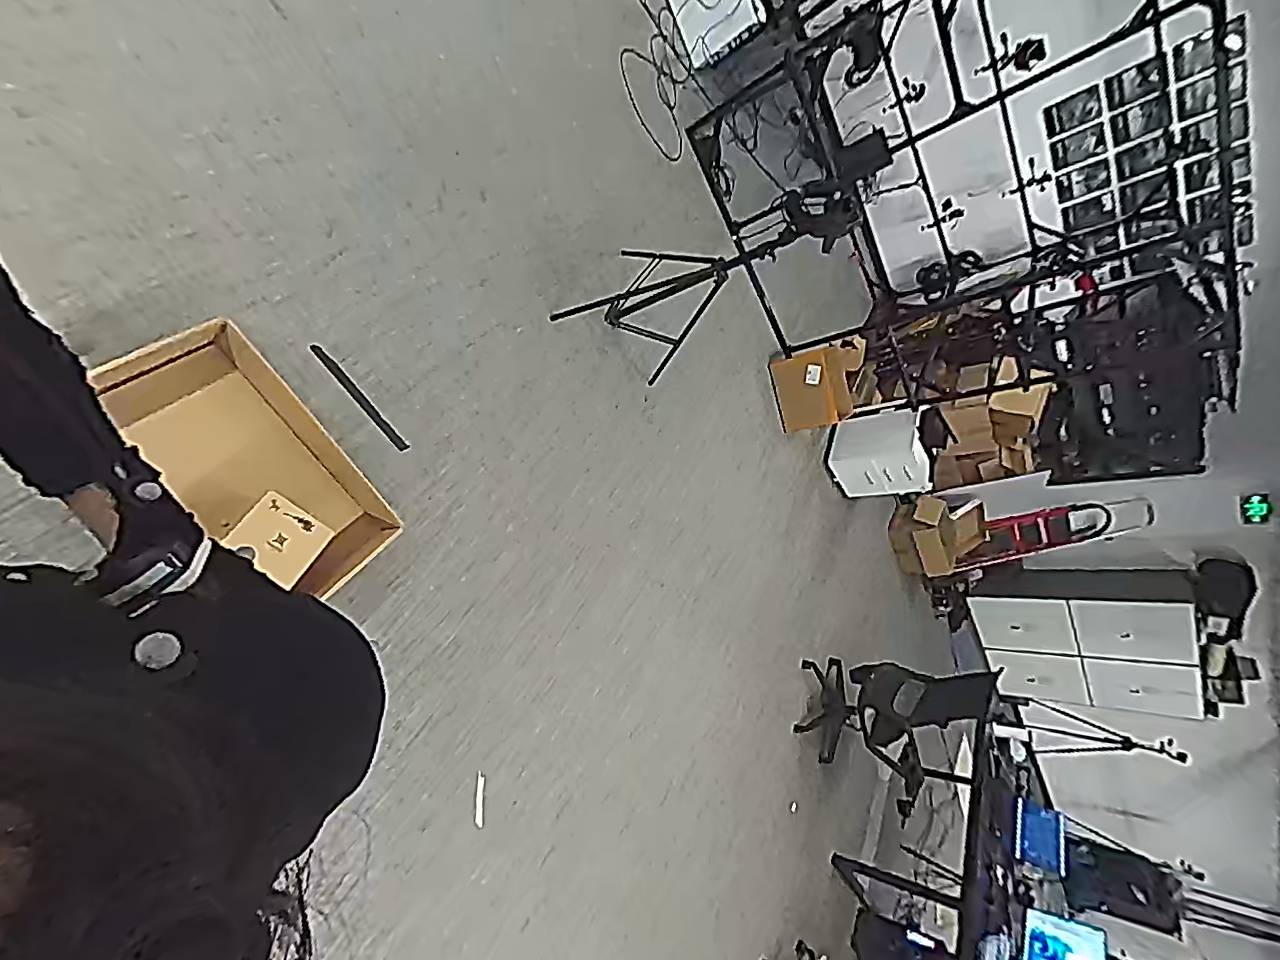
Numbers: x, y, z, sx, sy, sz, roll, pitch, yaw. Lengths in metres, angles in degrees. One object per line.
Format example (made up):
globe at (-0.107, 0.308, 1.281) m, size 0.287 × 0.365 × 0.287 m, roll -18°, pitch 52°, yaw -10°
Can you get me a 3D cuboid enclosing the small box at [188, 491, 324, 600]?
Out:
small box at (-0.856, 0.149, 1.201) m, size 0.168 × 0.176 × 0.179 m, roll 49°, pitch 50°, yaw -31°
